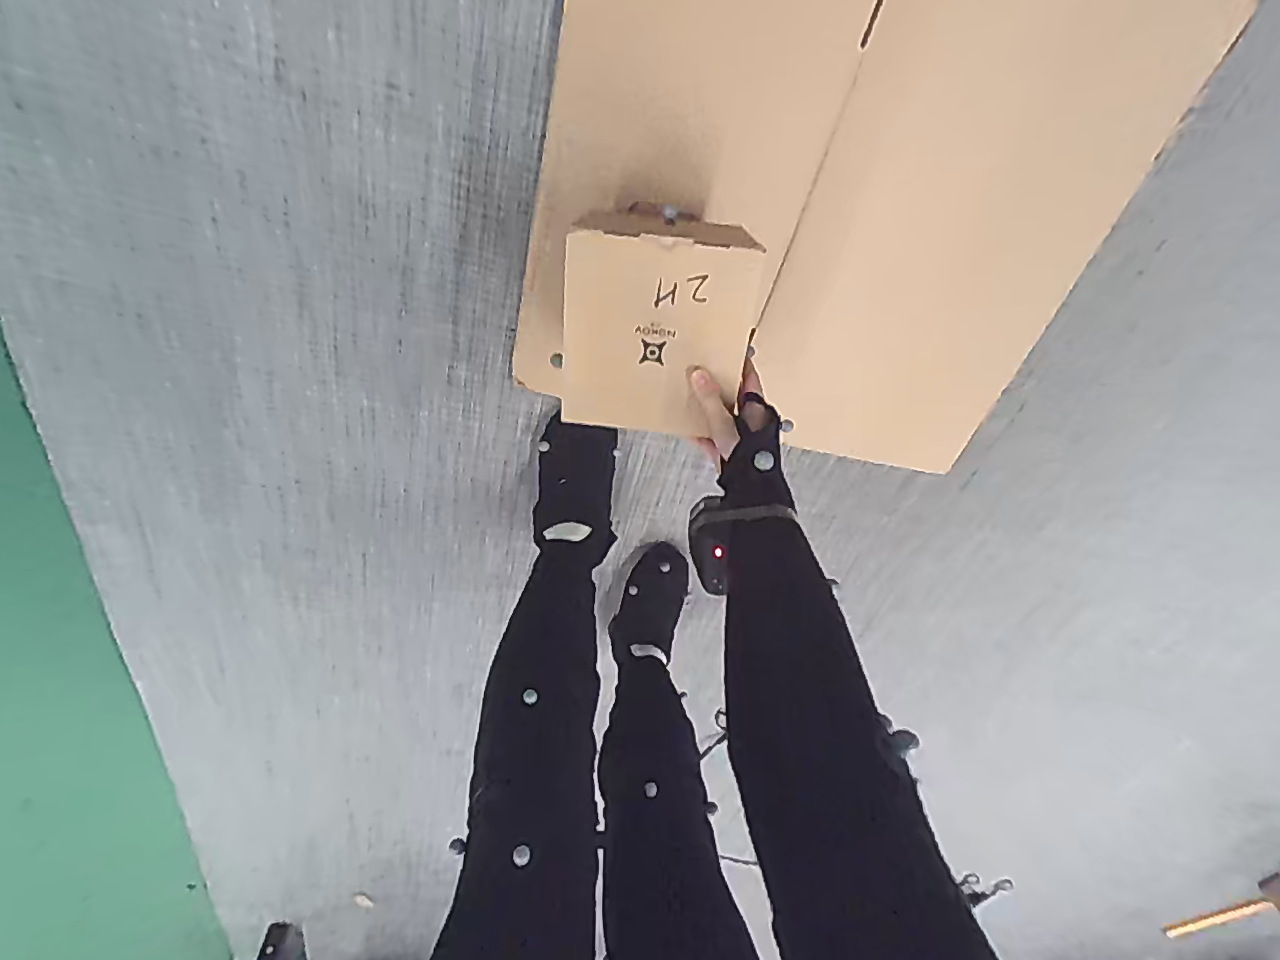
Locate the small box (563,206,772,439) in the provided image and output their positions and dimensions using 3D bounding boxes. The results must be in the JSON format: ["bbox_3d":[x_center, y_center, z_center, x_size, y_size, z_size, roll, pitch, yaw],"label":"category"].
[{"bbox_3d":[0.020,-0.164,0.545,0.168,0.176,0.179,7,121,-2],"label":"small box"}]
